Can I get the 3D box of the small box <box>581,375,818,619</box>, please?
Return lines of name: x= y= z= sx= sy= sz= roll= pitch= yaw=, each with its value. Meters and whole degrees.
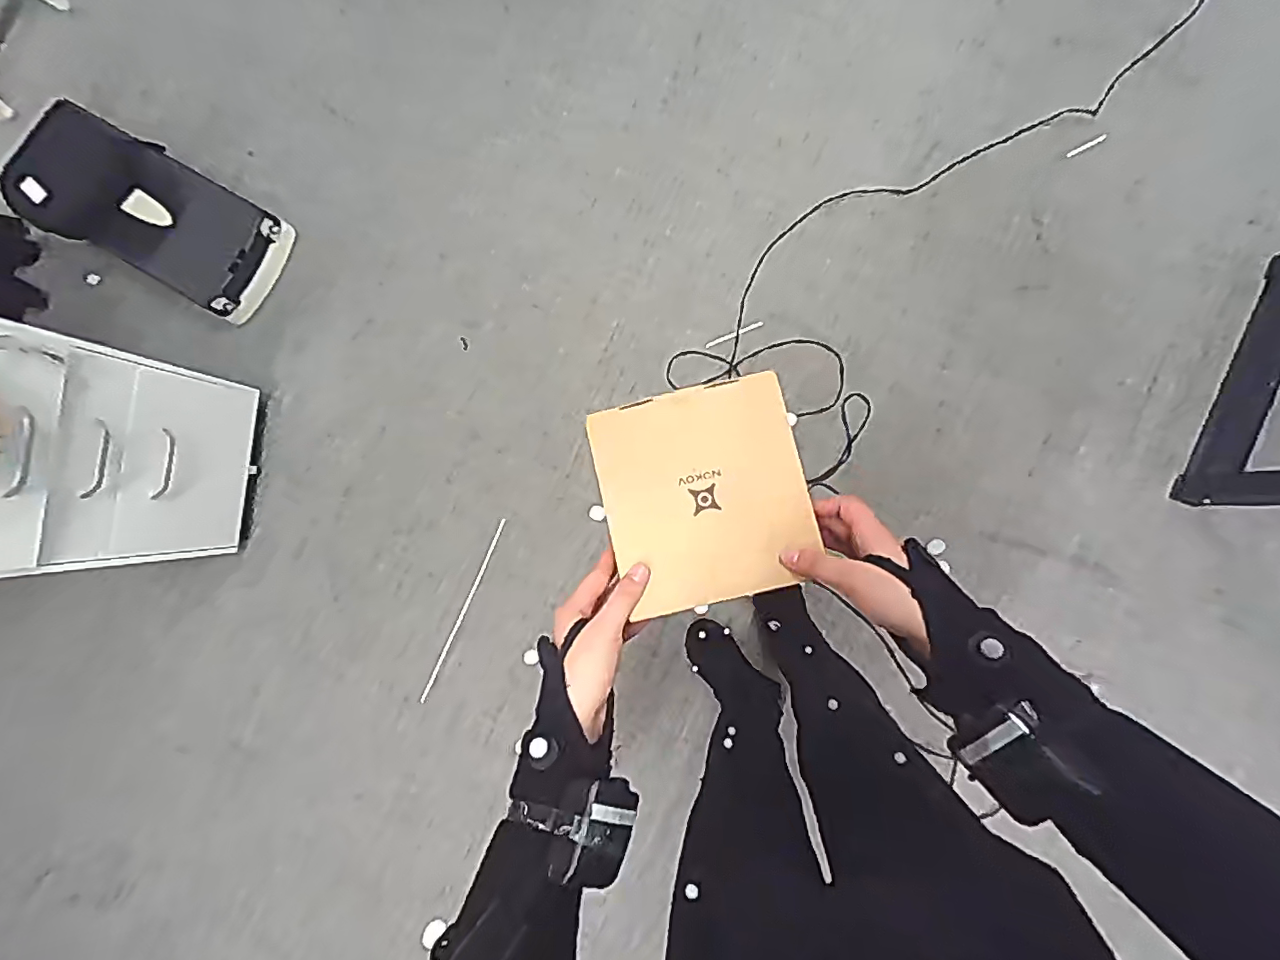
small box: x=0.053 y=0.021 z=0.528 sx=0.168 sy=0.176 sz=0.179 roll=-14 pitch=82 yaw=2
